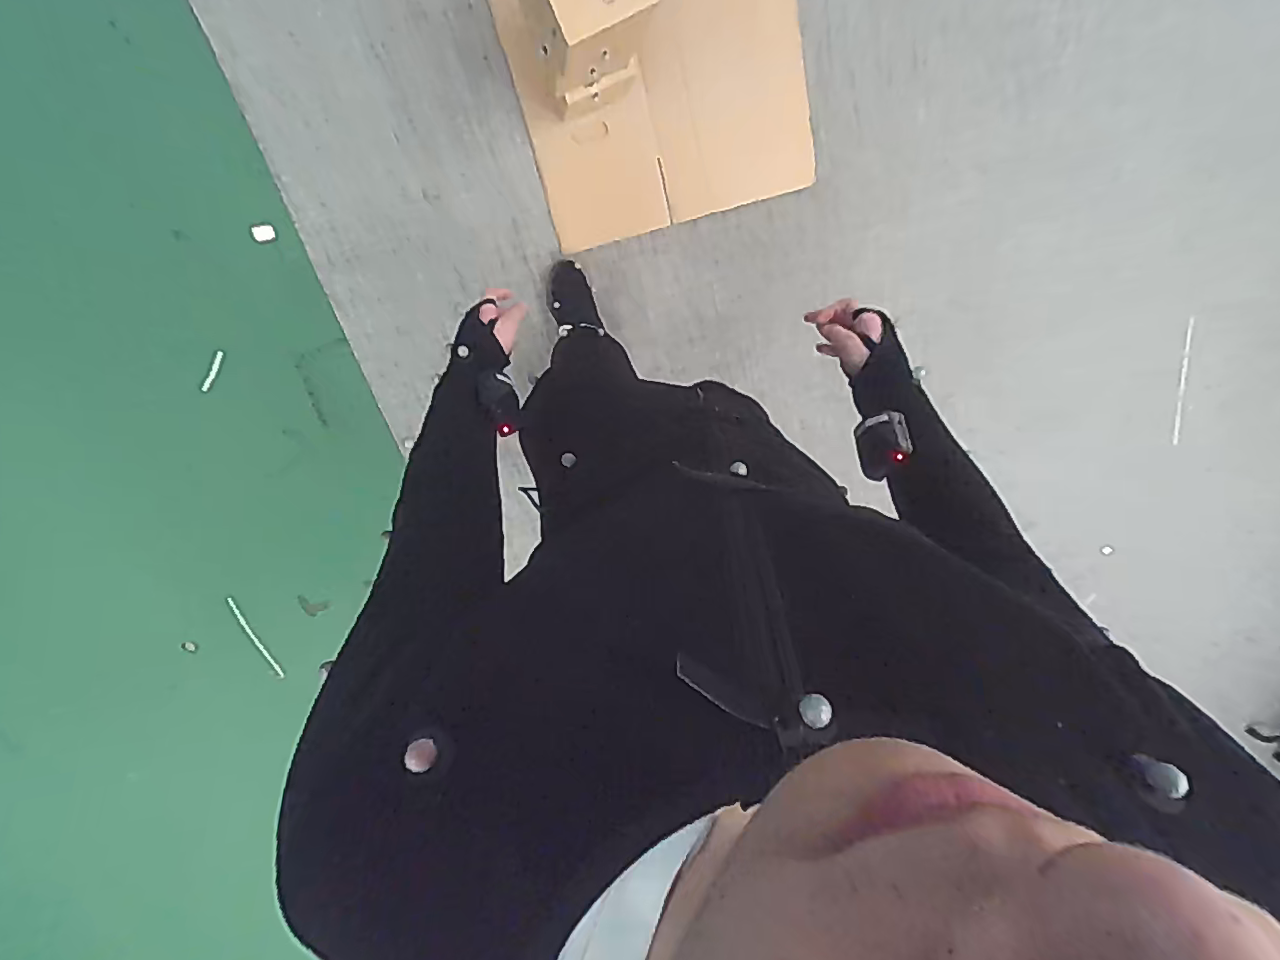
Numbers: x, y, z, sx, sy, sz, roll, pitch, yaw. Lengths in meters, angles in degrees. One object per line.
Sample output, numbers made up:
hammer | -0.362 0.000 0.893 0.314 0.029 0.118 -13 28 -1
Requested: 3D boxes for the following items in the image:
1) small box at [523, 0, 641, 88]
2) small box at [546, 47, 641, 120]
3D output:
small box | -0.112 -0.867 1.007 0.168 0.176 0.179 -24 113 -1
small box | -0.115 -0.920 1.165 0.168 0.176 0.179 -24 113 0
